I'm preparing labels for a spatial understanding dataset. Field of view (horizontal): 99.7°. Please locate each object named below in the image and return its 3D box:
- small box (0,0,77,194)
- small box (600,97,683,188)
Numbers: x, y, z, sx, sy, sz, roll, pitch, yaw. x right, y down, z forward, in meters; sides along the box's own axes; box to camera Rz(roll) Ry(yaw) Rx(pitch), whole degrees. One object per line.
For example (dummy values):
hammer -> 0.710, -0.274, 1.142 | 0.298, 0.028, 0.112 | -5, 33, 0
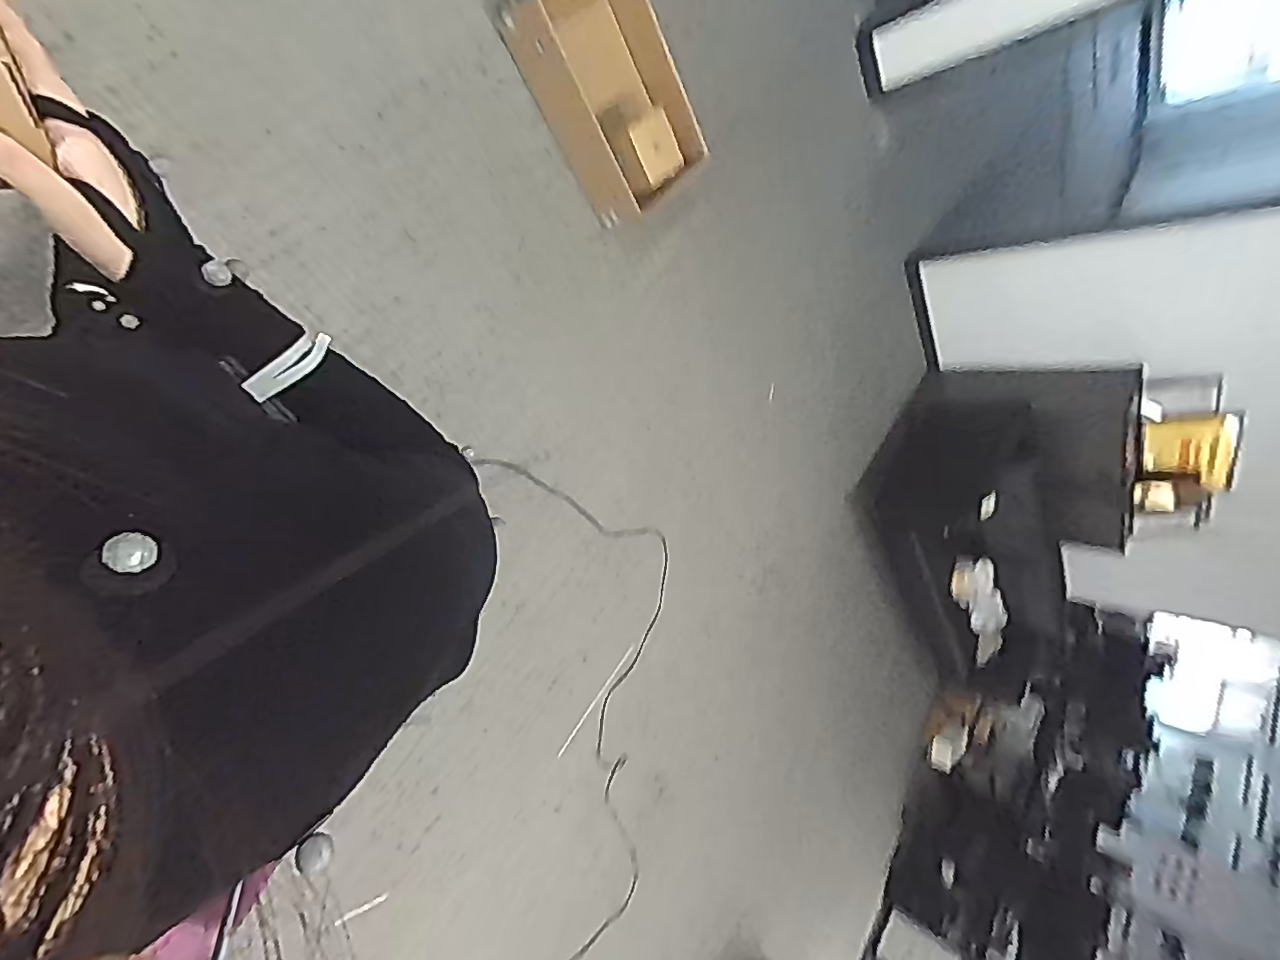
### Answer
small box -> -0.398, -0.246, 0.221 | 0.179, 0.168, 0.176 | -23, 70, -35
small box -> -0.003, -1.043, 1.685 | 0.179, 0.176, 0.168 | -49, 127, -24
